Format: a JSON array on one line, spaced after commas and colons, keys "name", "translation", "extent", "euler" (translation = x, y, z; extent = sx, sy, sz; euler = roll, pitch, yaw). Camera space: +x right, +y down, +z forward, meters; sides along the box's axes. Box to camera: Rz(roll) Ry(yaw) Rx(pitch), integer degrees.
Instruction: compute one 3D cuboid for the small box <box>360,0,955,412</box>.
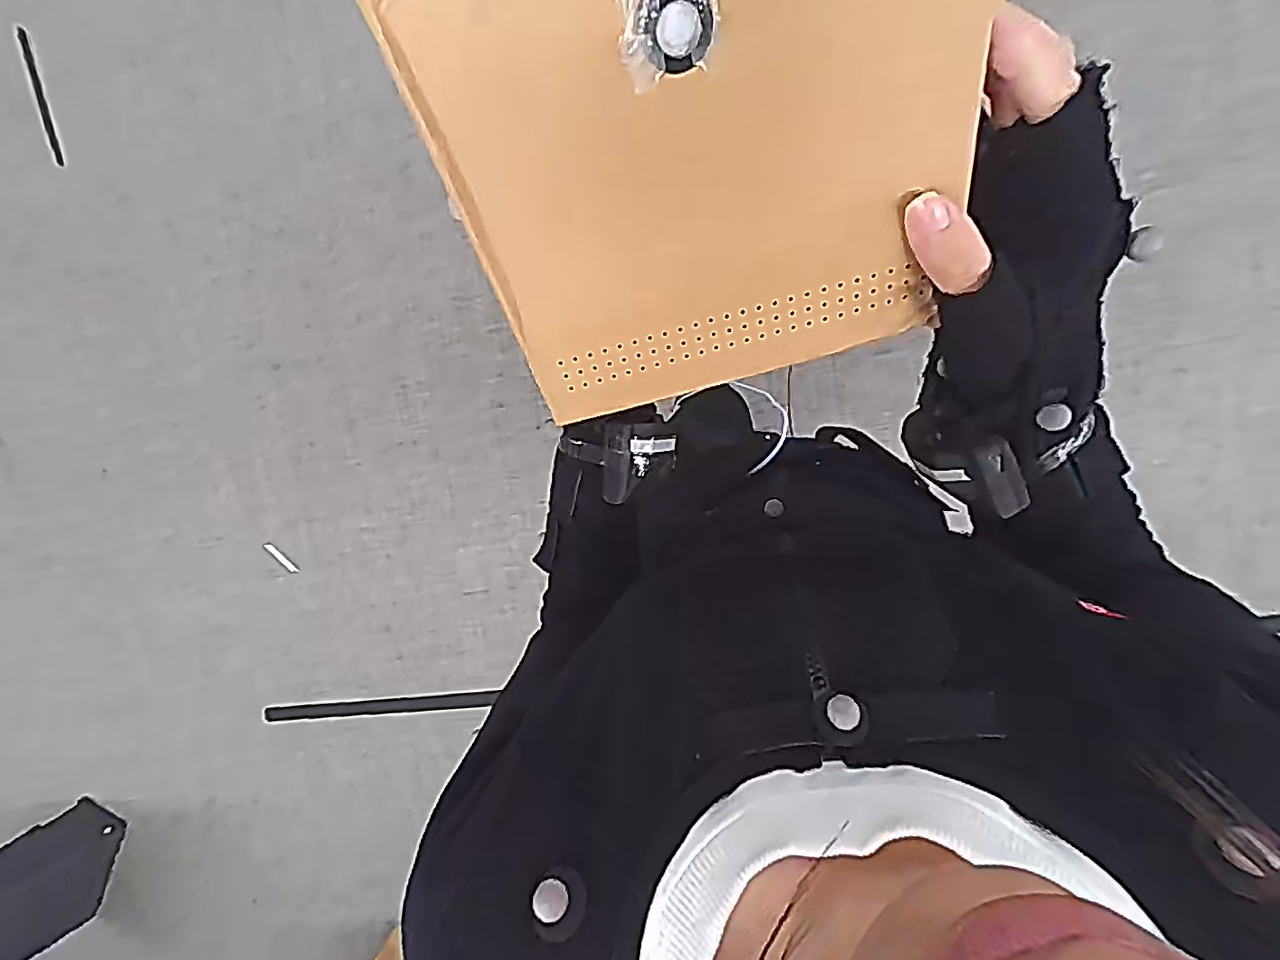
[{"name": "small box", "translation": [0.020, -0.153, 0.245], "extent": [0.179, 0.168, 0.176], "euler": [-14, 133, 7]}]
